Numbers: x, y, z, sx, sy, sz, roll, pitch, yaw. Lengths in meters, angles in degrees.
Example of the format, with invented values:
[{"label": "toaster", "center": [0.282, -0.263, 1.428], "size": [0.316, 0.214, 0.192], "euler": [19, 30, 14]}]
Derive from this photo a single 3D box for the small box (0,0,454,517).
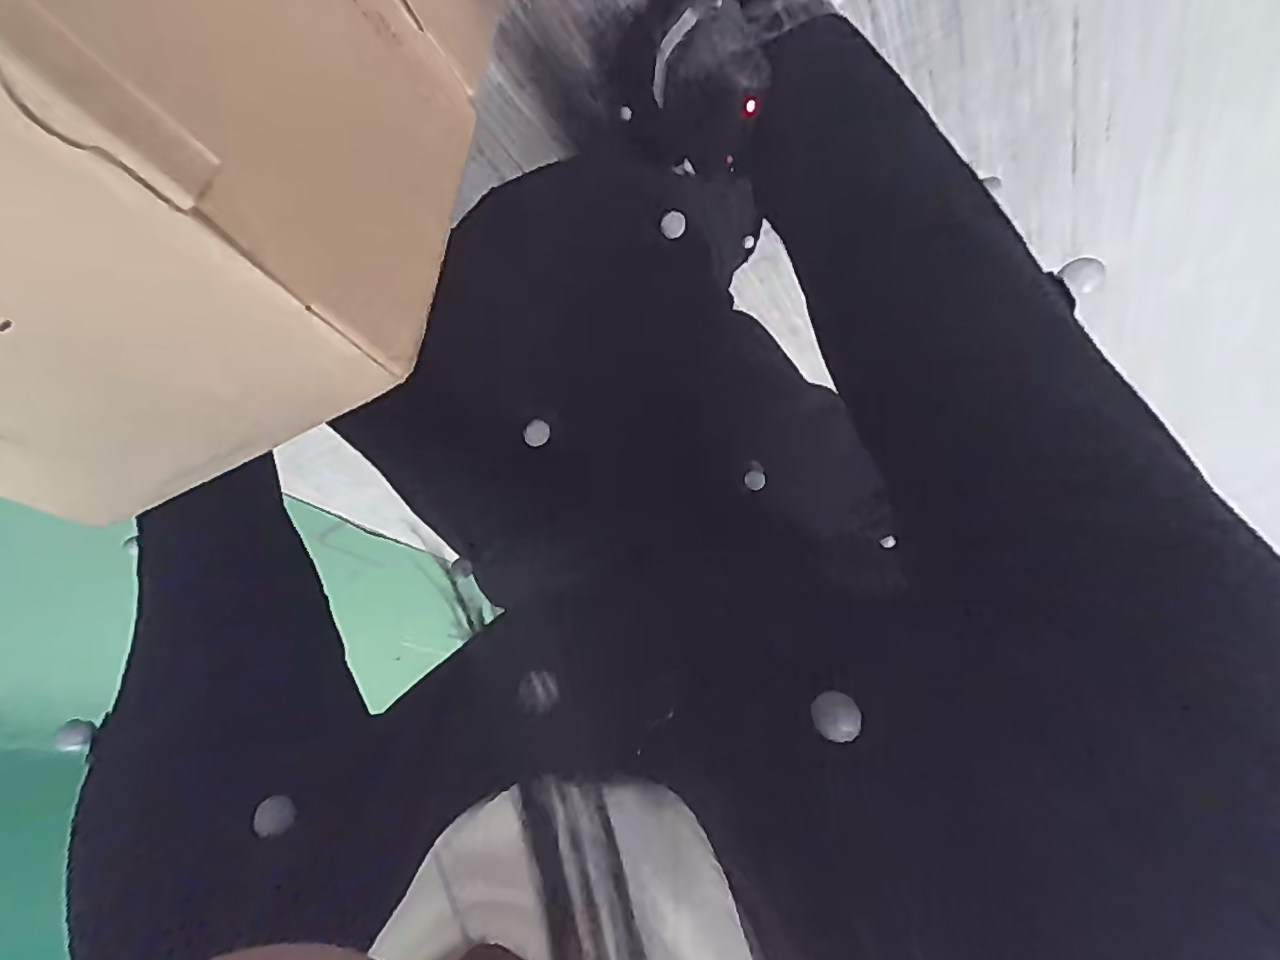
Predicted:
[{"label": "small box", "center": [-0.184, -0.113, 0.181], "size": [0.179, 0.176, 0.168], "euler": [-17, 143, 23]}]
